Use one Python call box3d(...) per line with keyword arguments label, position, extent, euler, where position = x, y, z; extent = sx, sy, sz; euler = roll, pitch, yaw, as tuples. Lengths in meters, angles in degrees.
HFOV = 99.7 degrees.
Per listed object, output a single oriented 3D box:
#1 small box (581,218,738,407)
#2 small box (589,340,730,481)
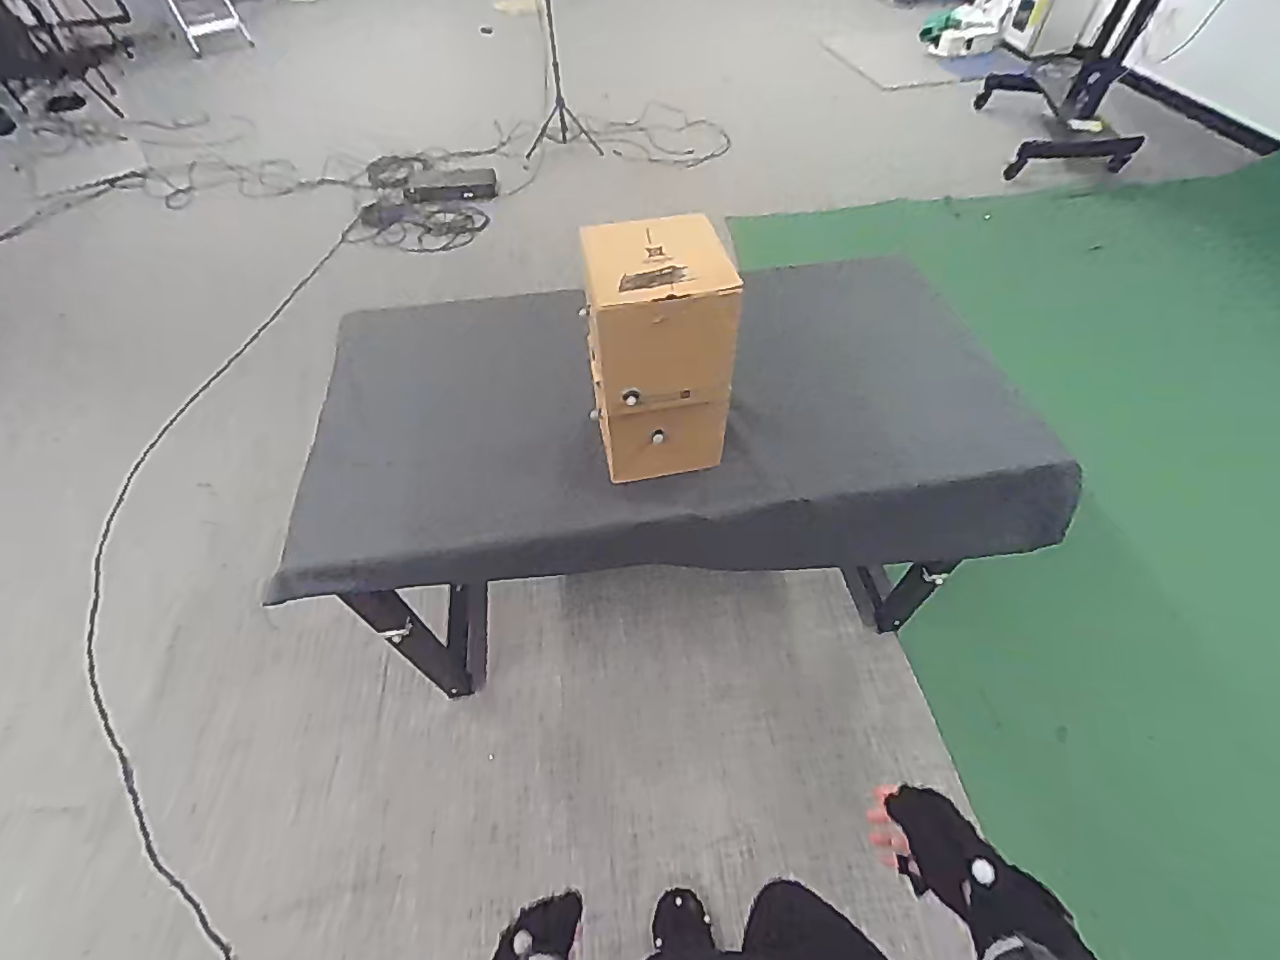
box3d(label="small box", position=(0.021, -0.211, 0.705), extent=(0.168, 0.176, 0.179), euler=(-9, 52, -5))
box3d(label="small box", position=(0.028, -0.118, 0.845), extent=(0.179, 0.176, 0.168), euler=(-12, 51, -8))
